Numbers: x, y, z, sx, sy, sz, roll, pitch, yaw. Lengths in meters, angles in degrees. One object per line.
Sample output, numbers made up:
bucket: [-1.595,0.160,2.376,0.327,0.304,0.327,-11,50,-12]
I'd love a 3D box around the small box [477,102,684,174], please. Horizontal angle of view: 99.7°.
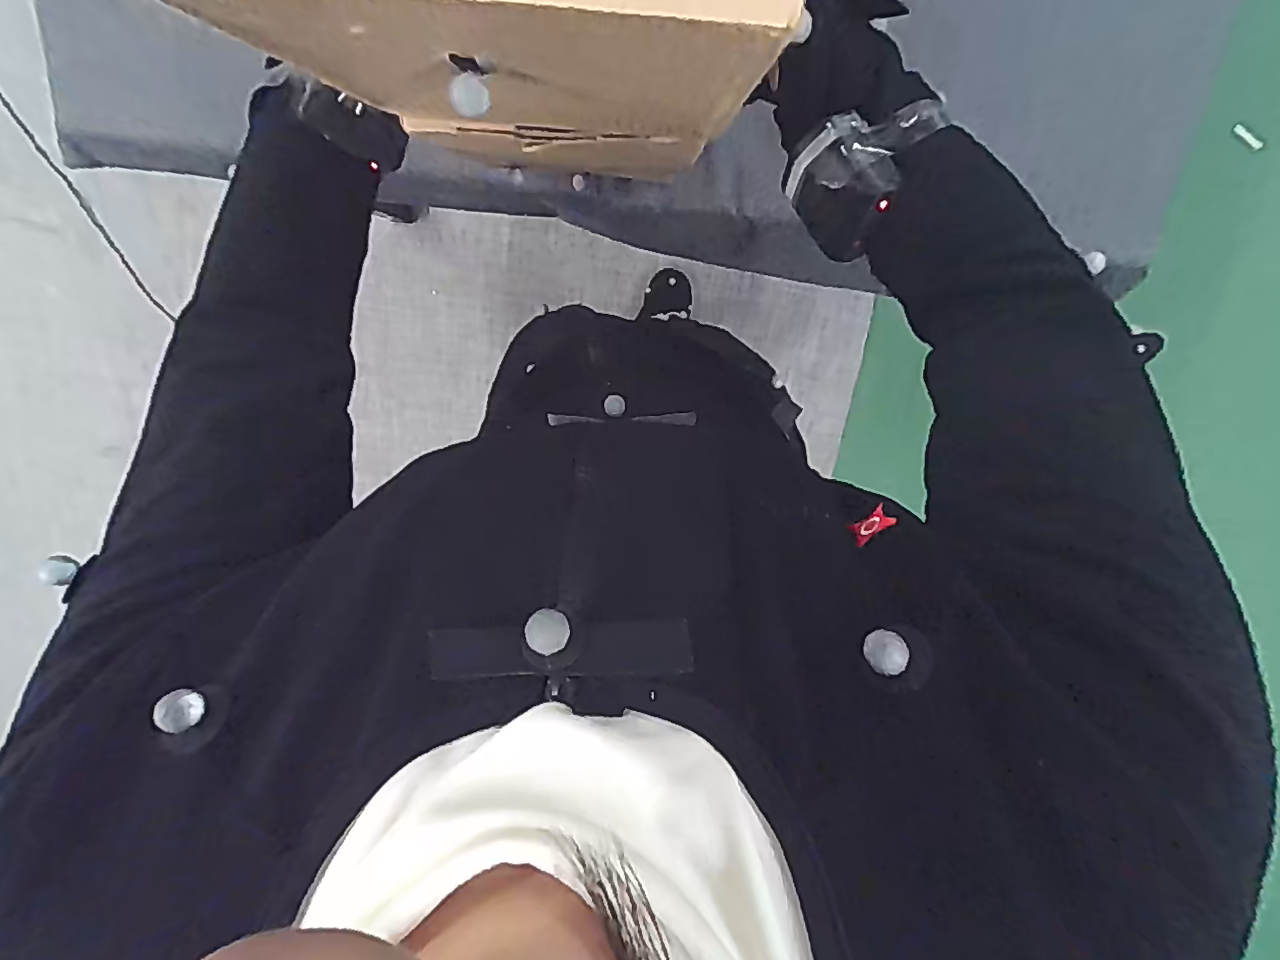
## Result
small box: [-0.041,-0.383,0.475,0.168,0.176,0.179,5,115,-1]

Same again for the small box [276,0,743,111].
small box: [-0.045,-0.242,0.182,0.179,0.176,0.168,1,112,-1]
